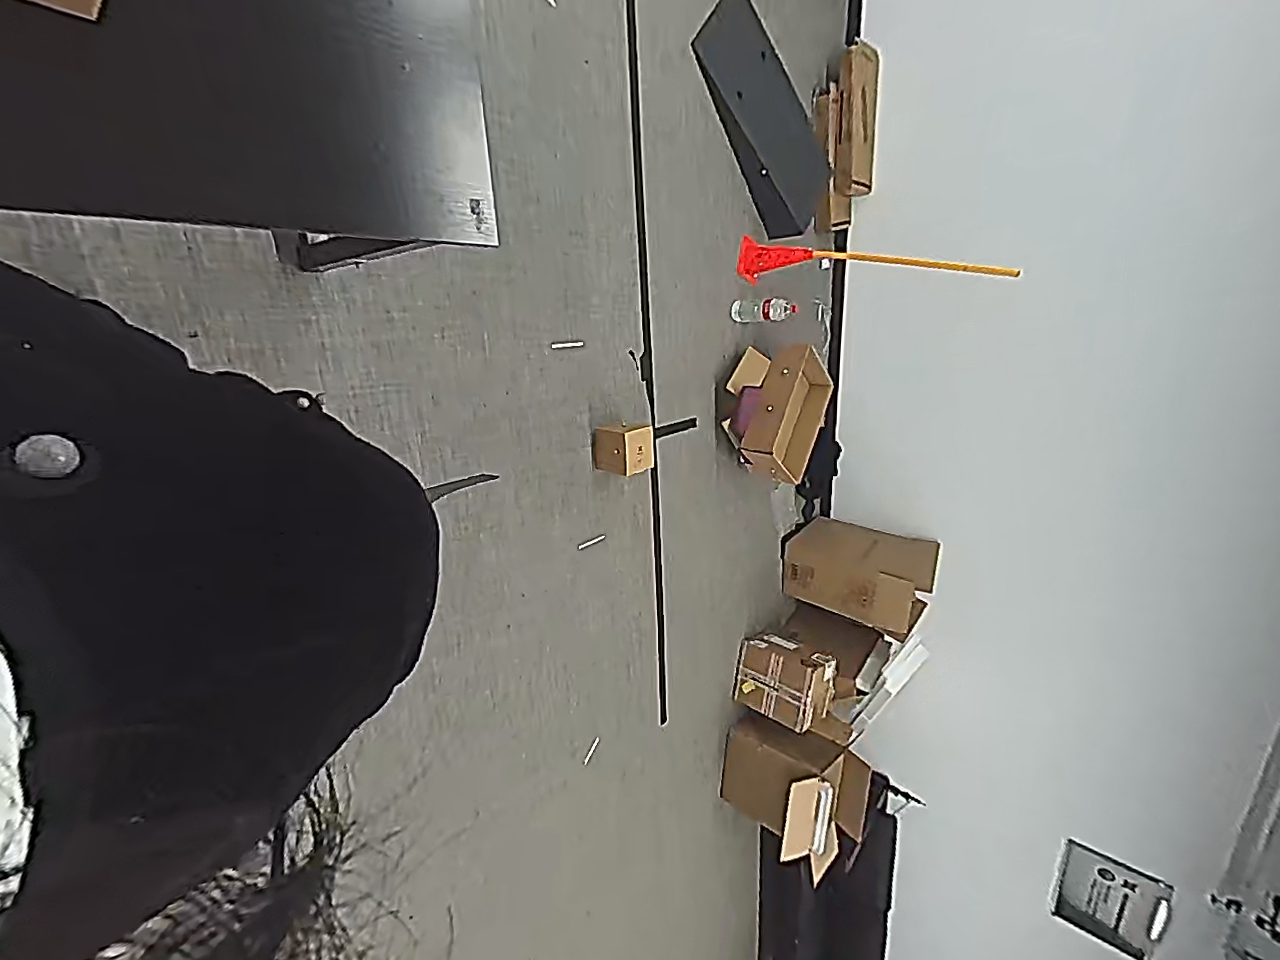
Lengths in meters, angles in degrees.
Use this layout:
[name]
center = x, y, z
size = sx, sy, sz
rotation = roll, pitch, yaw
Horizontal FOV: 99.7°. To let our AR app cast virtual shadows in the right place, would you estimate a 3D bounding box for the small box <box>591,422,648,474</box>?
[small box]
center = -0.085, -0.135, 2.170
size = 0.168, 0.176, 0.179
rotation = -20, 115, -45
